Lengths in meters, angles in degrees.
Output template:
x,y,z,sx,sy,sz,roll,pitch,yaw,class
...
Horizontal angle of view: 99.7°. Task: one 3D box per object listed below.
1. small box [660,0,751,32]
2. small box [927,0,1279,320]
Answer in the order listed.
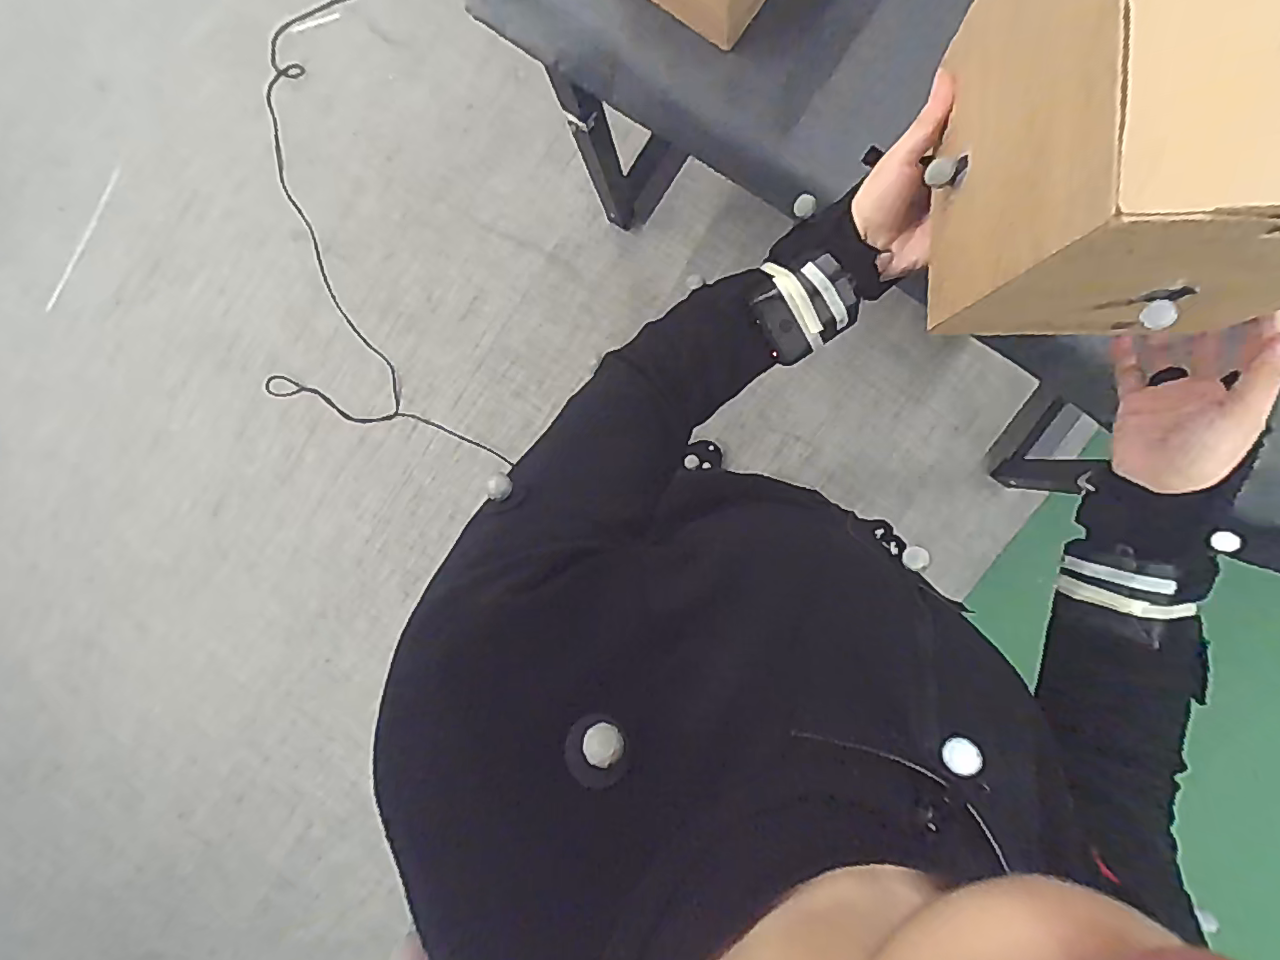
x,y,z,sx,sy,sz,roll,pitch,yaw,class
0.069,-0.599,0.526,0.179,0.176,0.168,37,94,3,small box
0.259,-0.181,0.263,0.168,0.176,0.179,1,92,7,small box
